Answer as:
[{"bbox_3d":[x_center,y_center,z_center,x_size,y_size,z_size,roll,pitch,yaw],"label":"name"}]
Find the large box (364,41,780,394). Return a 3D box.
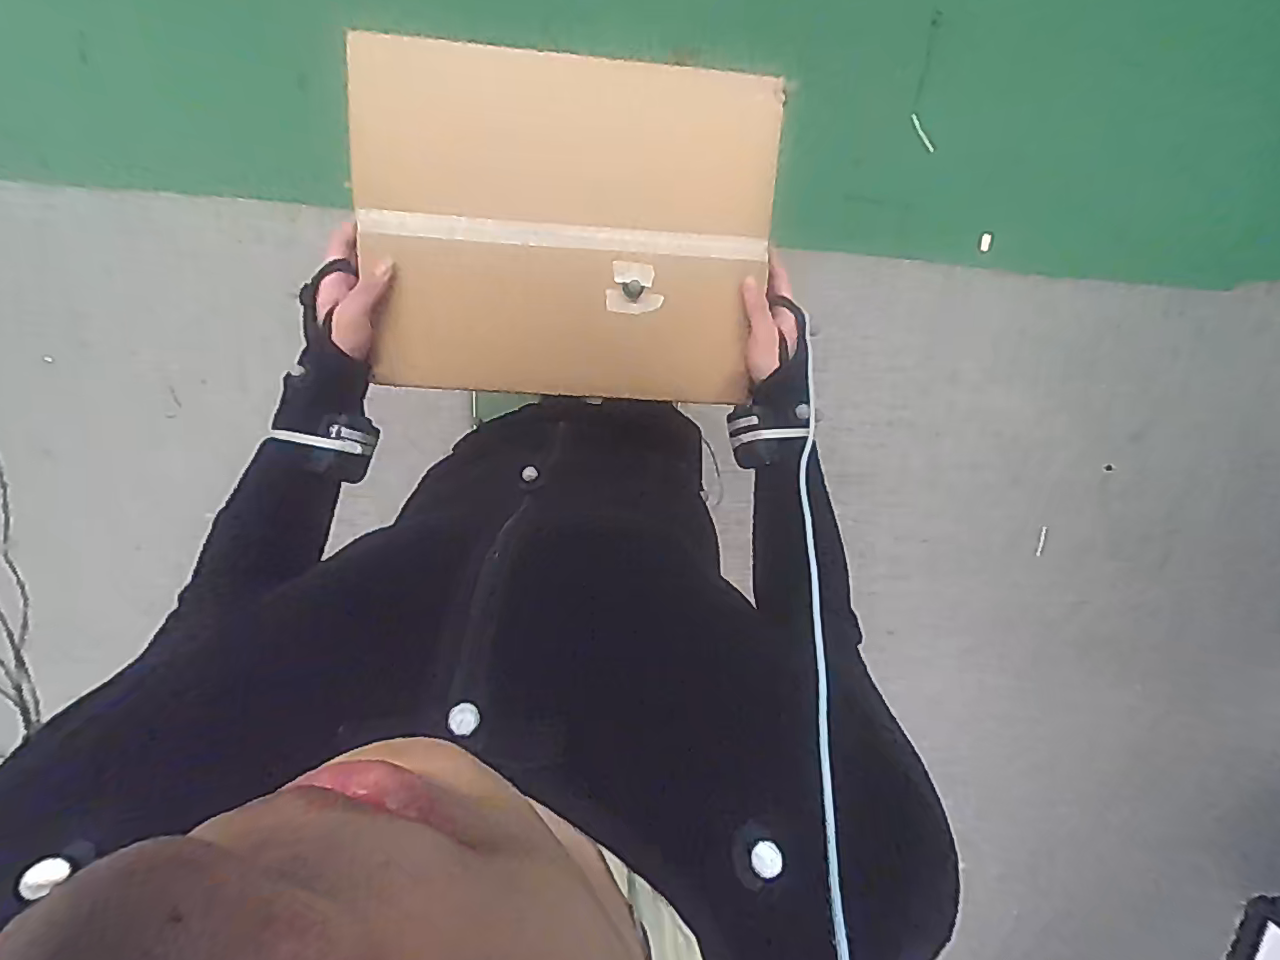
[{"bbox_3d":[-0.080,-0.281,0.691,0.408,0.320,0.320,2,103,-6],"label":"large box"}]
